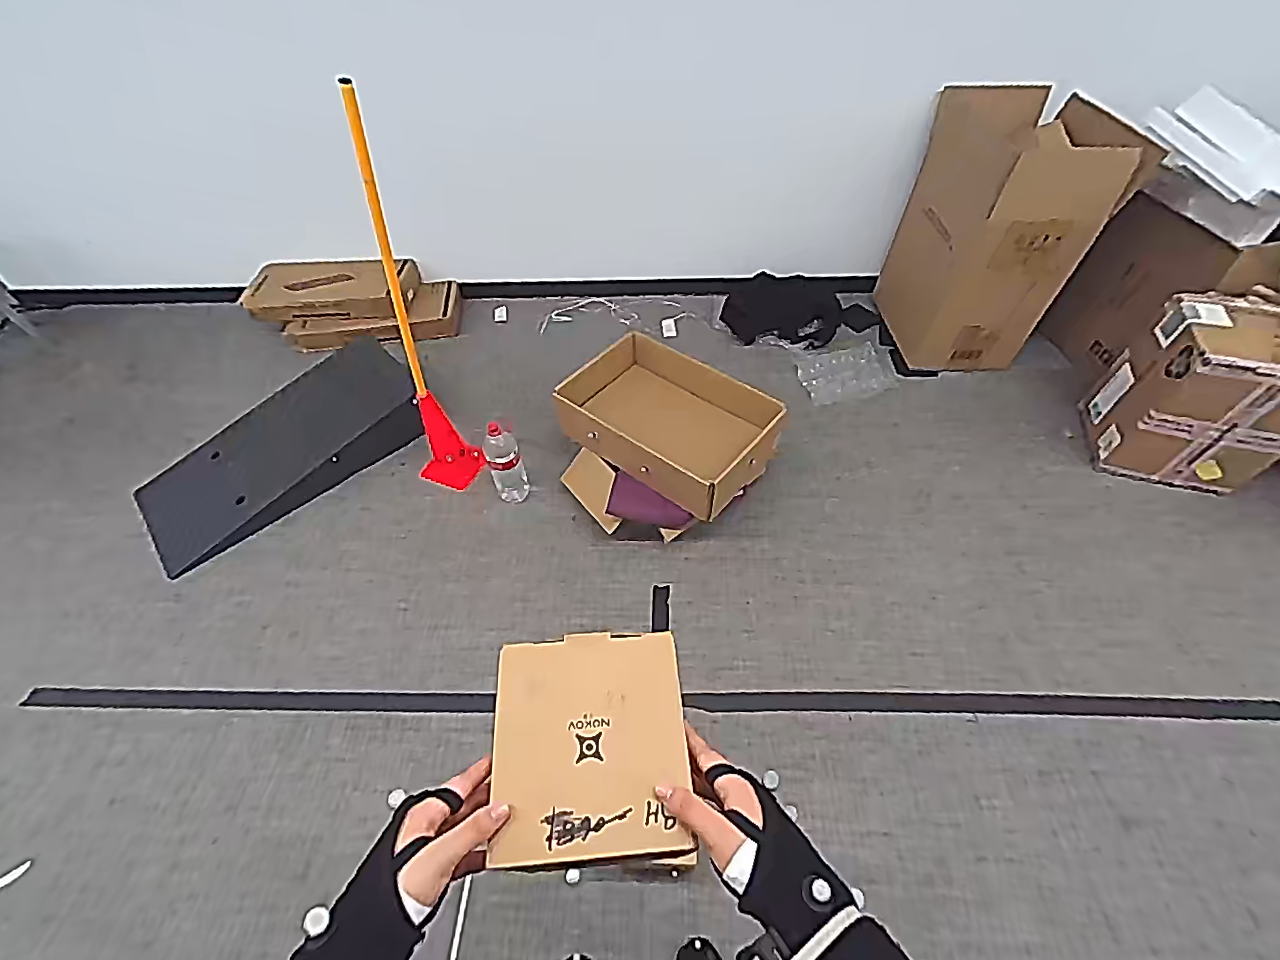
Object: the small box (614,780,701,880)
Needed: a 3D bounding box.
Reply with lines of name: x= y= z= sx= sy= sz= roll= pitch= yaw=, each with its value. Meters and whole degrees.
small box: x=0.040 y=0.772 z=1.191 sx=0.179 sy=0.176 sz=0.168 roll=-1 pitch=50 yaw=3
